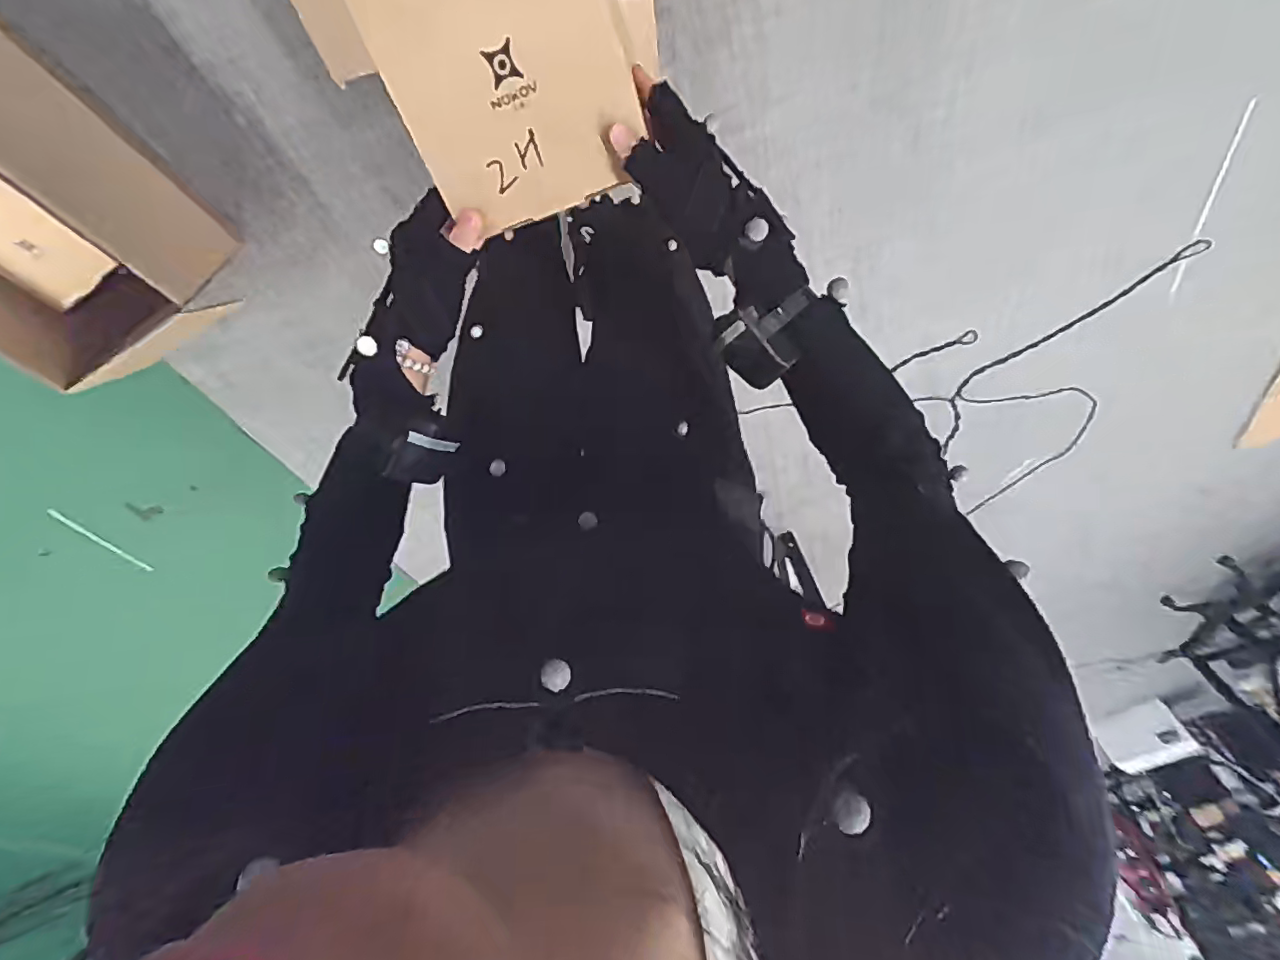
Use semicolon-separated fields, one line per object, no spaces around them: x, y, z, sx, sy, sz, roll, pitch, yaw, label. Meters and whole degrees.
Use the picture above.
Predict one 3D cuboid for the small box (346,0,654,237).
-0.091;-0.328;0.439;0.168;0.176;0.179;-14;124;14;small box
